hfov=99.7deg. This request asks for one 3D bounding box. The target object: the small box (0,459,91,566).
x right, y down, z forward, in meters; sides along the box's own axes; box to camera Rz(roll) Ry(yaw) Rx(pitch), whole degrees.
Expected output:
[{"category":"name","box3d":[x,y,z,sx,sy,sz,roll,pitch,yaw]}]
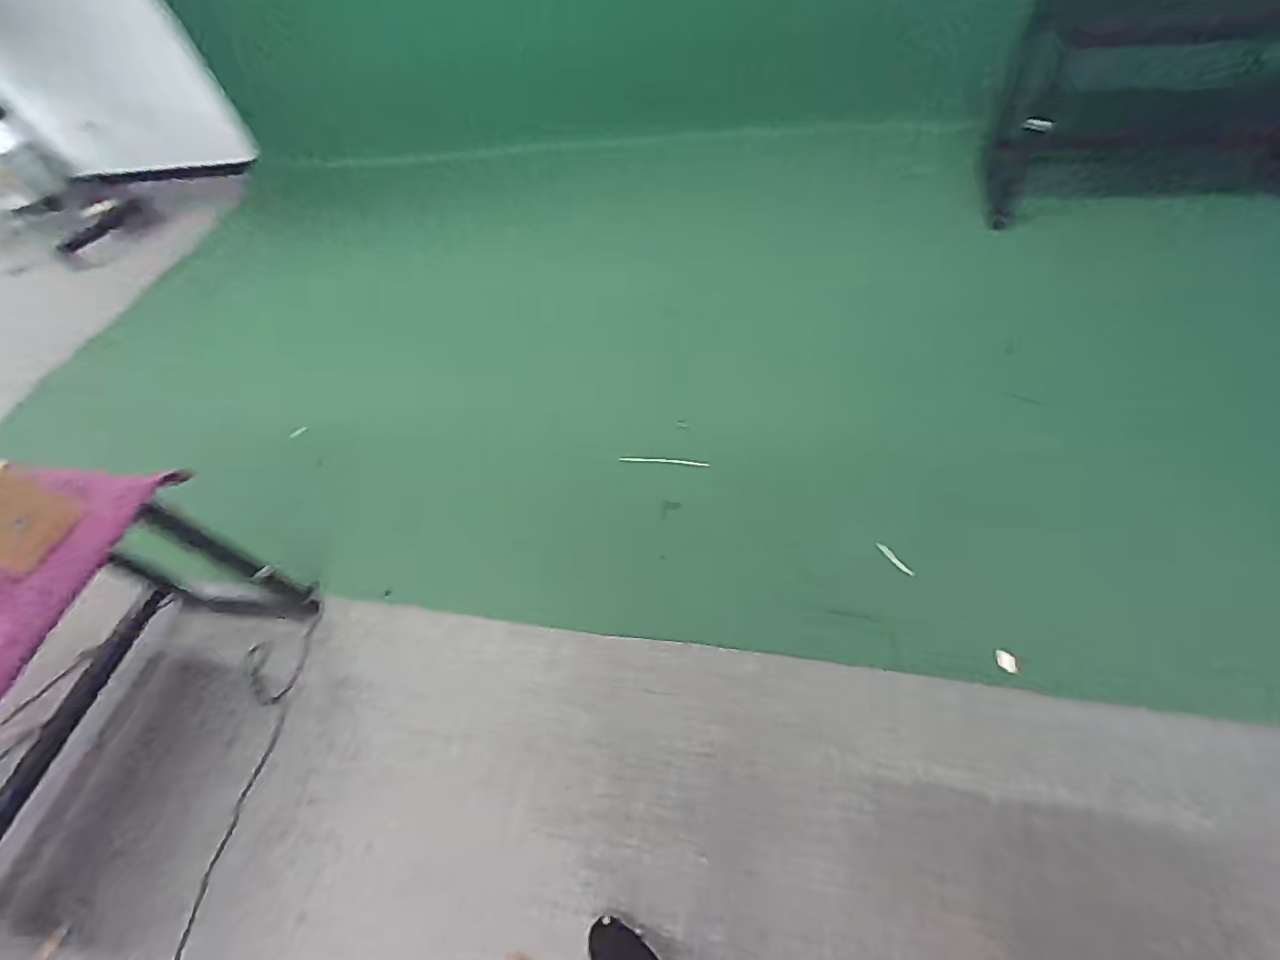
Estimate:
[{"category":"small box","box3d":[-1.333,0.065,1.129,0.179,0.176,0.168,7,58,17]}]
